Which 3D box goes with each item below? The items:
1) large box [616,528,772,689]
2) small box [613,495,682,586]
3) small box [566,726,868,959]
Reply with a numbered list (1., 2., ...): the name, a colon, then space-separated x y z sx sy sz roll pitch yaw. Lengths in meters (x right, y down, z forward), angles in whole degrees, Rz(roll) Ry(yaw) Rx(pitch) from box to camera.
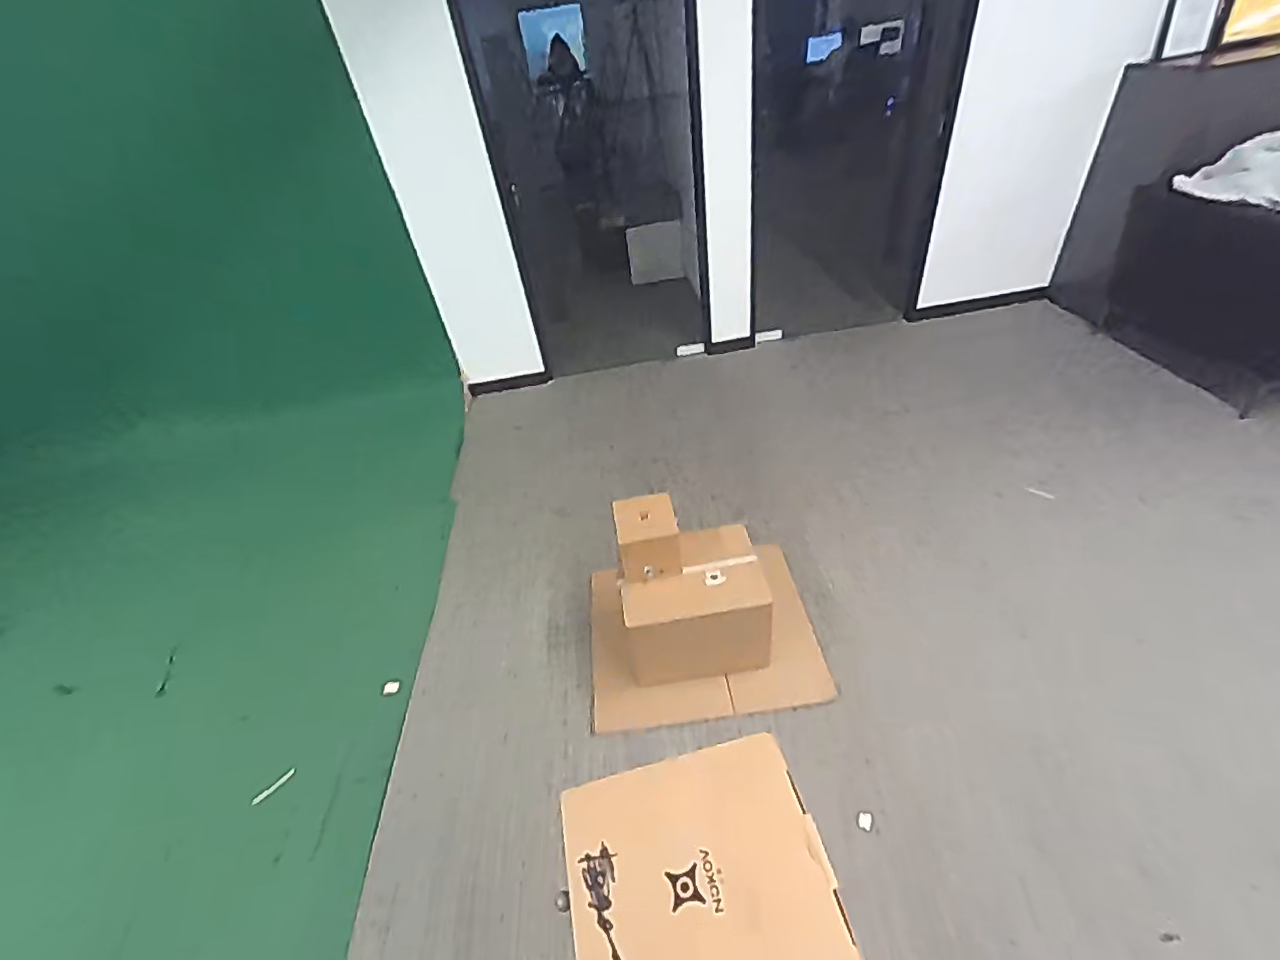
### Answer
1. large box: 0.153 0.386 1.636 0.408 0.320 0.320 -9 40 -2
2. small box: 0.021 0.172 1.536 0.168 0.176 0.179 -11 39 -2
3. small box: 0.049 0.324 0.419 0.179 0.176 0.168 -12 41 -4
